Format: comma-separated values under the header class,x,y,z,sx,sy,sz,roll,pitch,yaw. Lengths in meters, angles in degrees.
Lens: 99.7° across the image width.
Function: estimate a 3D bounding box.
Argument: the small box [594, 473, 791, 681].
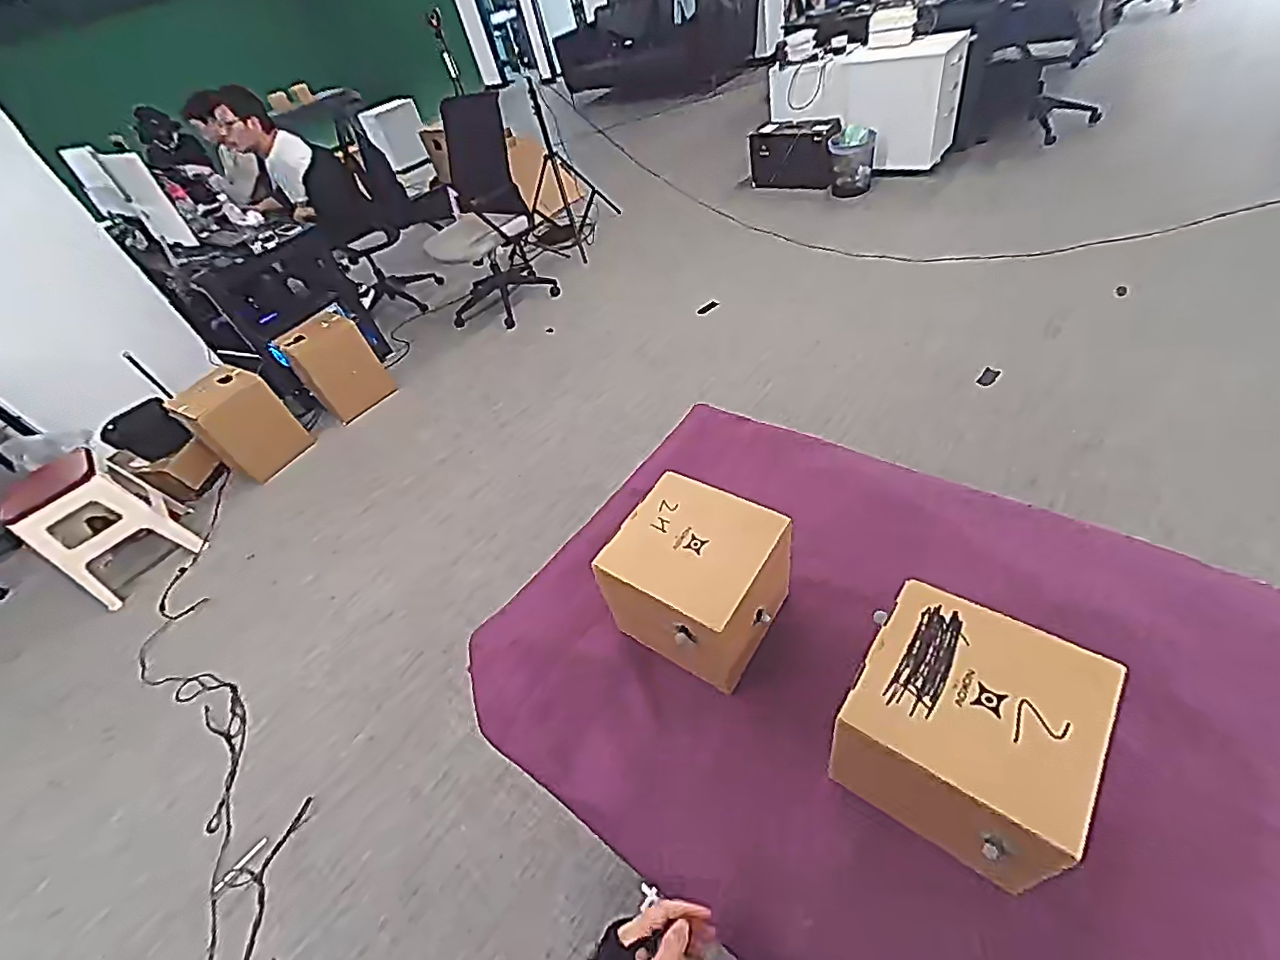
class,x,y,z,sx,sy,sz,roll,pitch,yaw
small box,0.074,0.126,0.684,0.179,0.176,0.168,23,56,30
